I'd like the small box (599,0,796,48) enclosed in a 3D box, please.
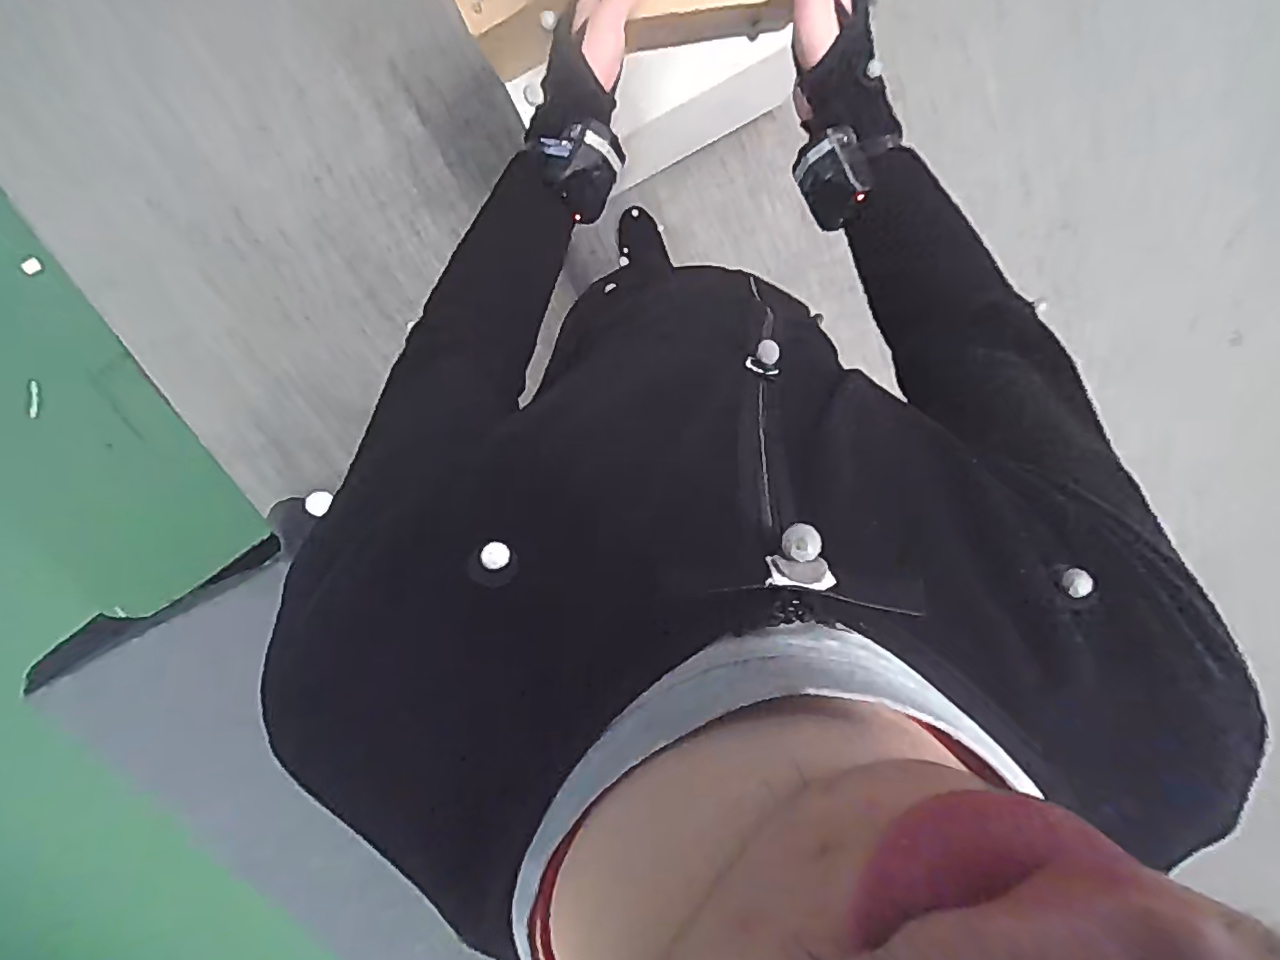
[{"bbox_3d":[0.048,-0.489,0.453,0.179,0.176,0.168,-5,120,7],"label":"small box"}]

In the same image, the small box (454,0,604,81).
[{"bbox_3d":[-0.143,-0.618,0.634,0.179,0.176,0.168,-24,109,8],"label":"small box"}]
